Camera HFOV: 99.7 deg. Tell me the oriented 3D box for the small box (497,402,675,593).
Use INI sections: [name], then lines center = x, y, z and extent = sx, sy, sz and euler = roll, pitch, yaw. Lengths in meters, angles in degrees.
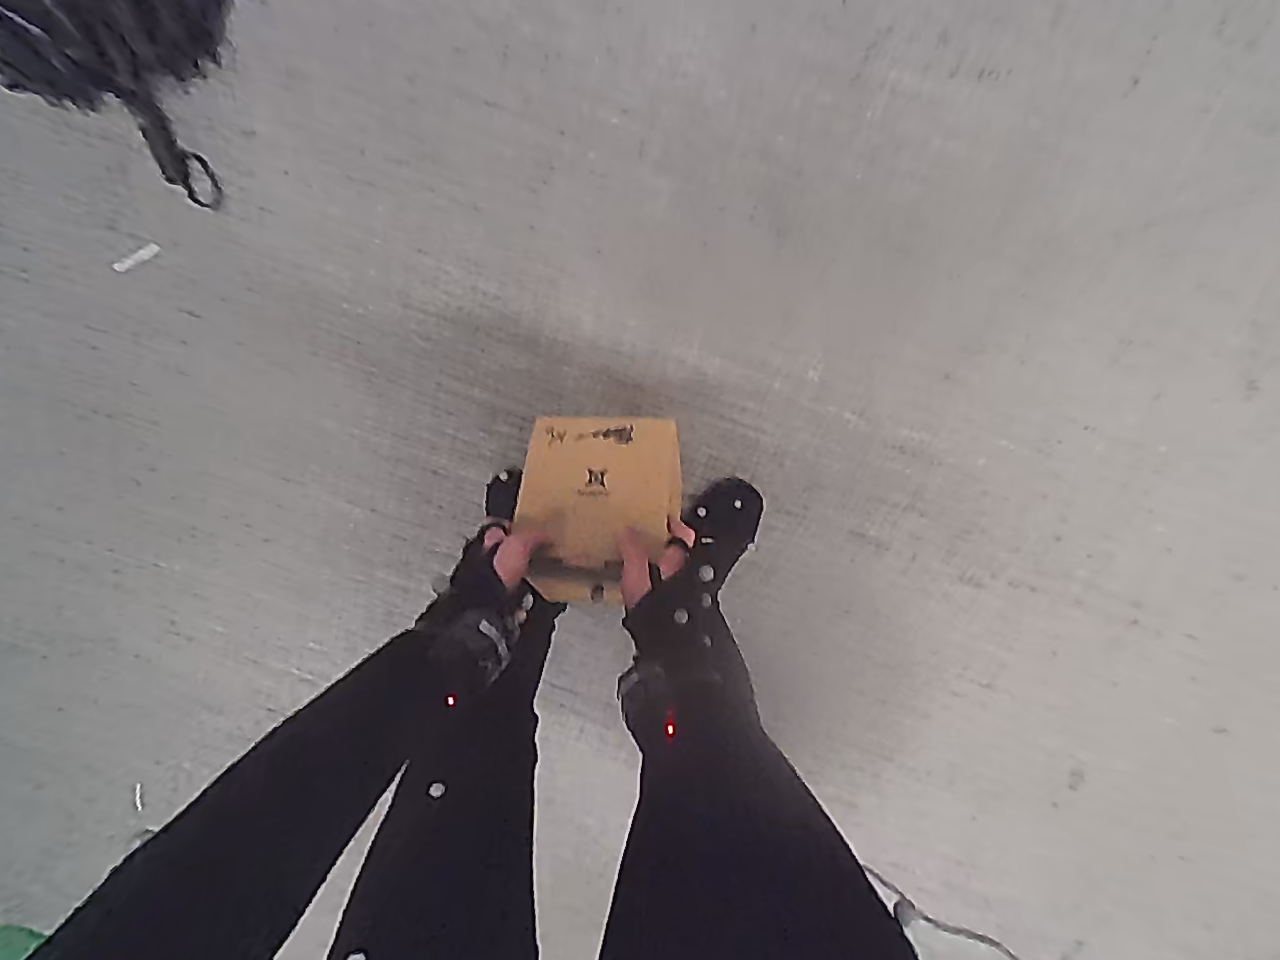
[small box]
center = -0.048, 0.027, 0.640
extent = 0.168, 0.179, 0.176
euler = 2, 153, 8
